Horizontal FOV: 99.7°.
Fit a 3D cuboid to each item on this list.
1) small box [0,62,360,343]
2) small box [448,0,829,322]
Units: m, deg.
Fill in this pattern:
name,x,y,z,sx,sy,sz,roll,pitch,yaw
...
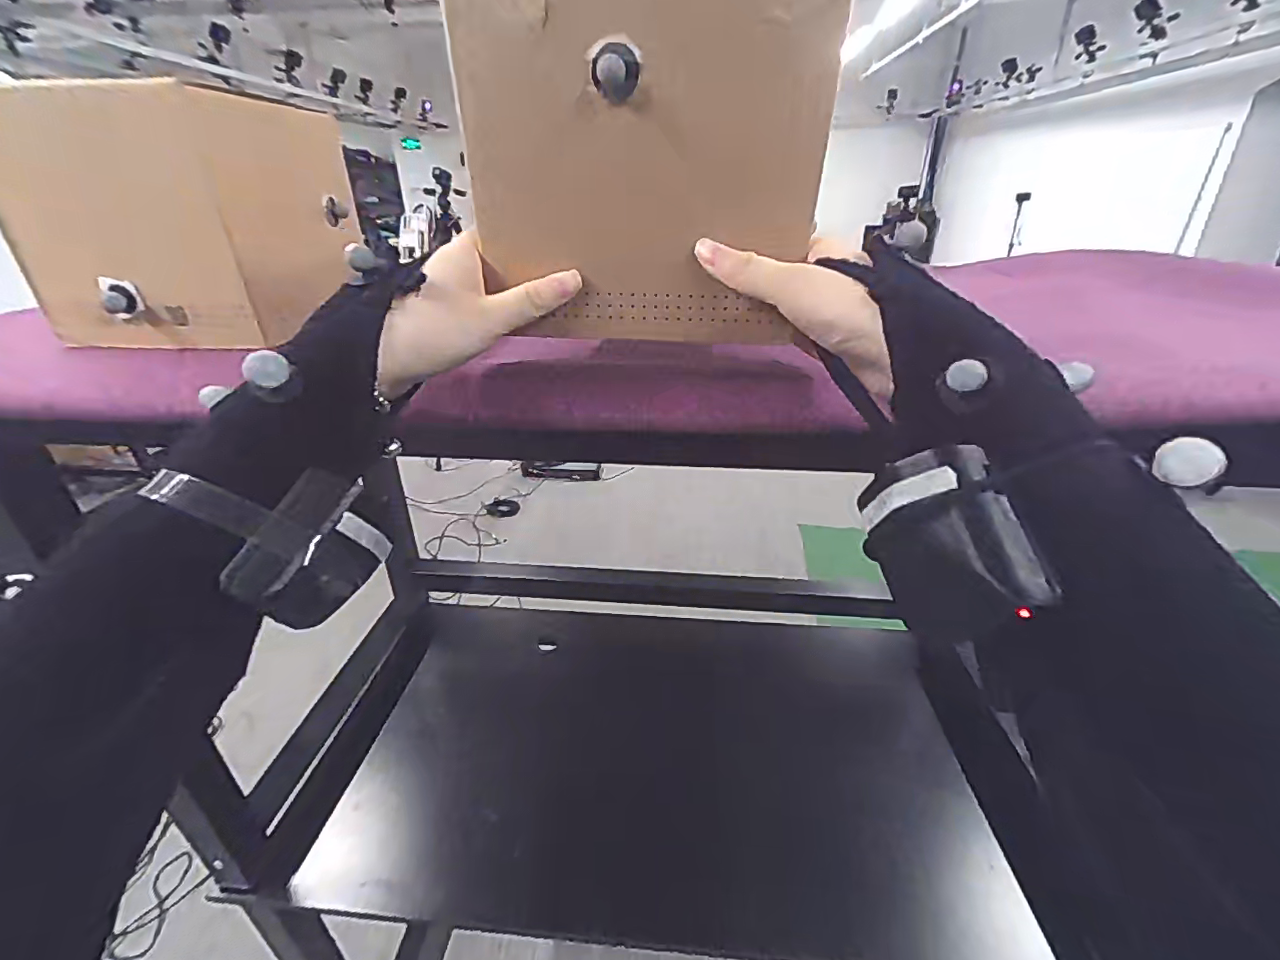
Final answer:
name,x,y,z,sx,sy,sz,roll,pitch,yaw
small box,-0.354,-0.215,0.435,0.168,0.176,0.179,-1,29,2
small box,0.004,-0.201,0.327,0.179,0.176,0.168,3,34,3
